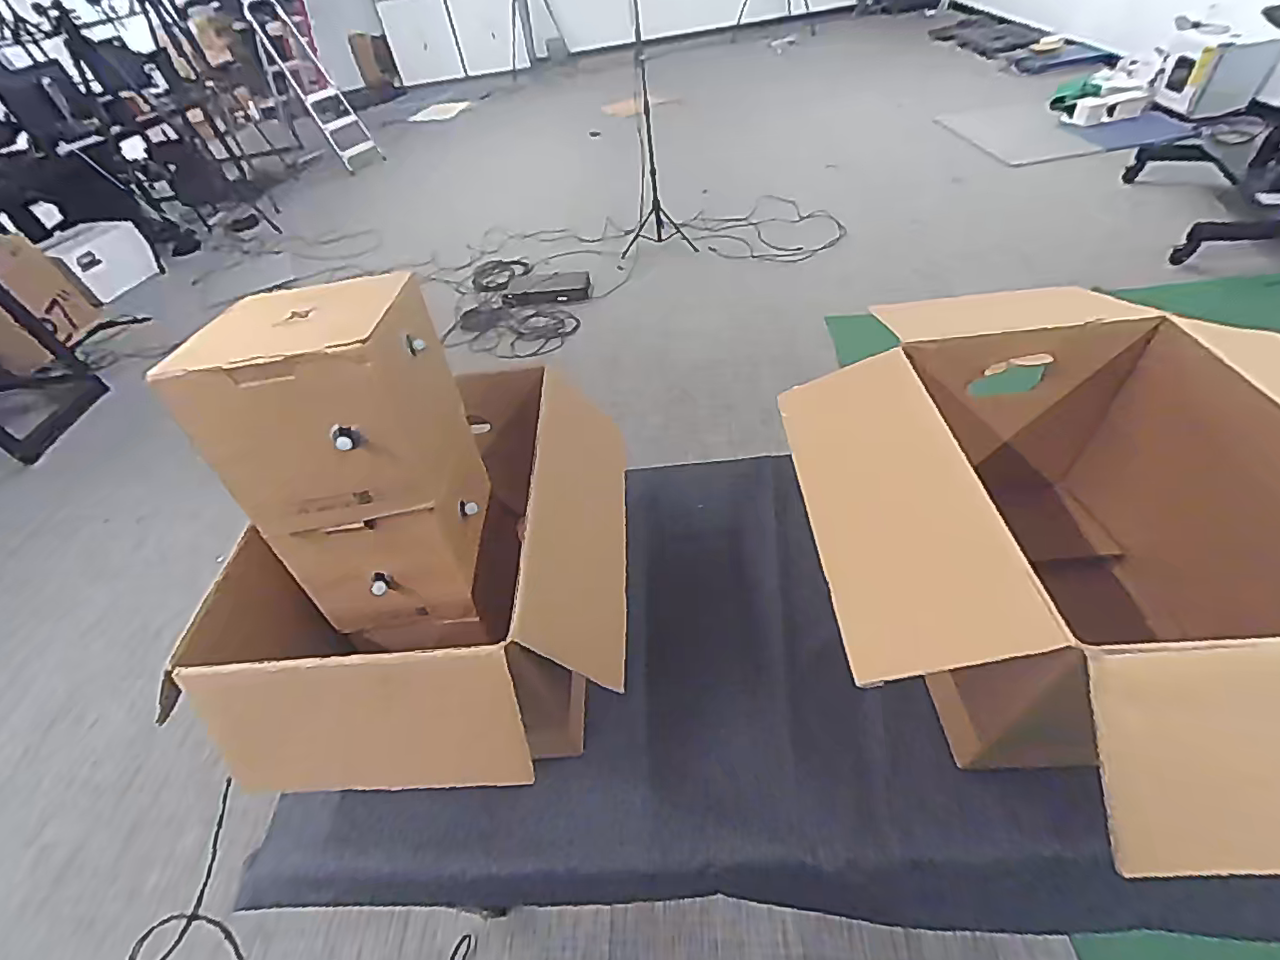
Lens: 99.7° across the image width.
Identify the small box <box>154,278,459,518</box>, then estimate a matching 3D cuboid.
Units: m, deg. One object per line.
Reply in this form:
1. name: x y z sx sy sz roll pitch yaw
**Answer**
1. small box: -0.292 -0.076 0.528 0.168 0.176 0.179 -8 37 -1
